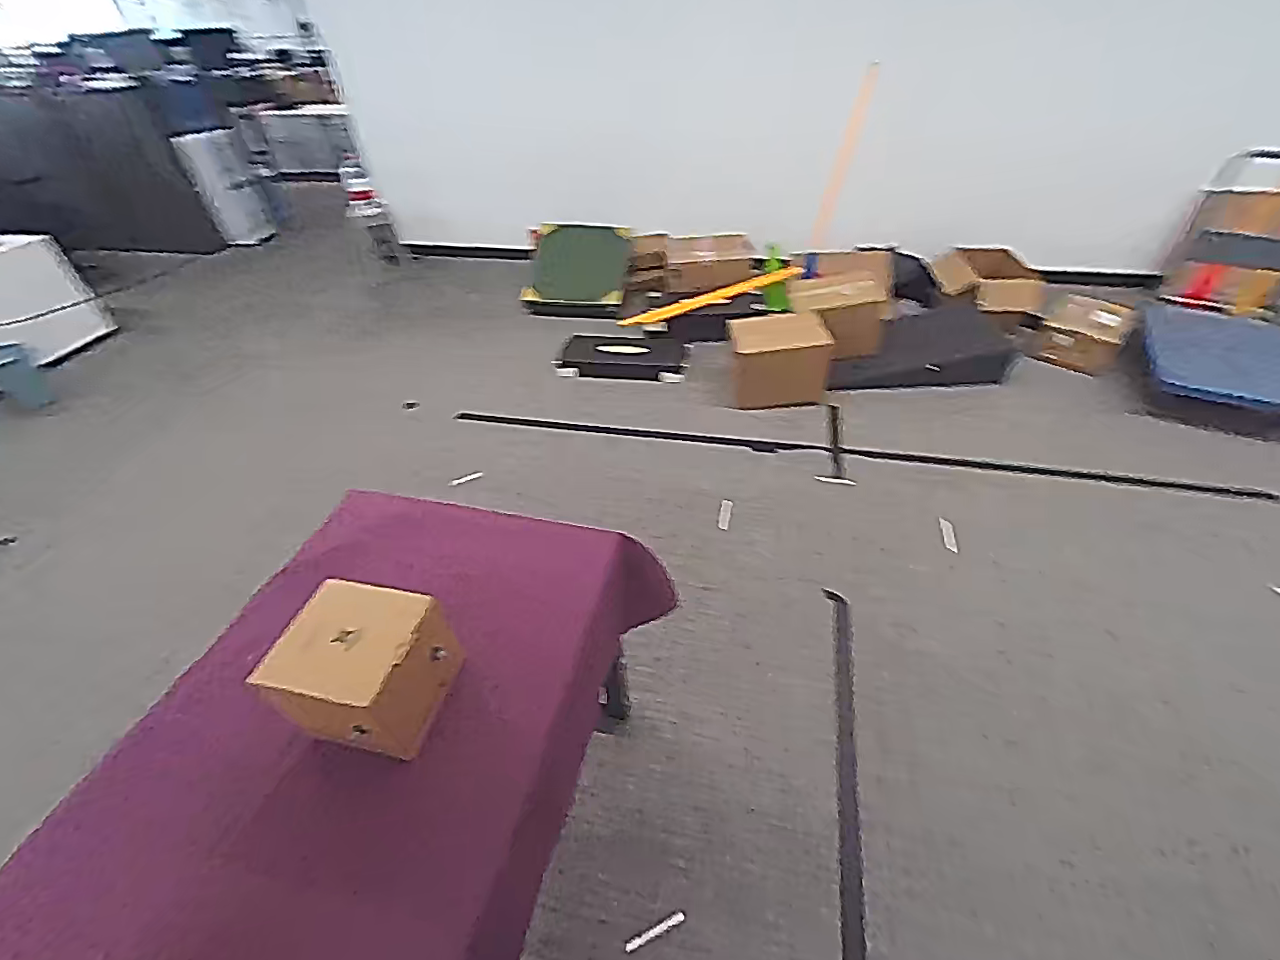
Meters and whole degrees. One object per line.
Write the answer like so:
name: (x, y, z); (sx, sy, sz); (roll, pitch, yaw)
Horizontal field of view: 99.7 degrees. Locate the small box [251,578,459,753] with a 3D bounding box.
small box: (-0.387, 0.268, 0.775); (0.179, 0.176, 0.168); (7, 43, 11)
